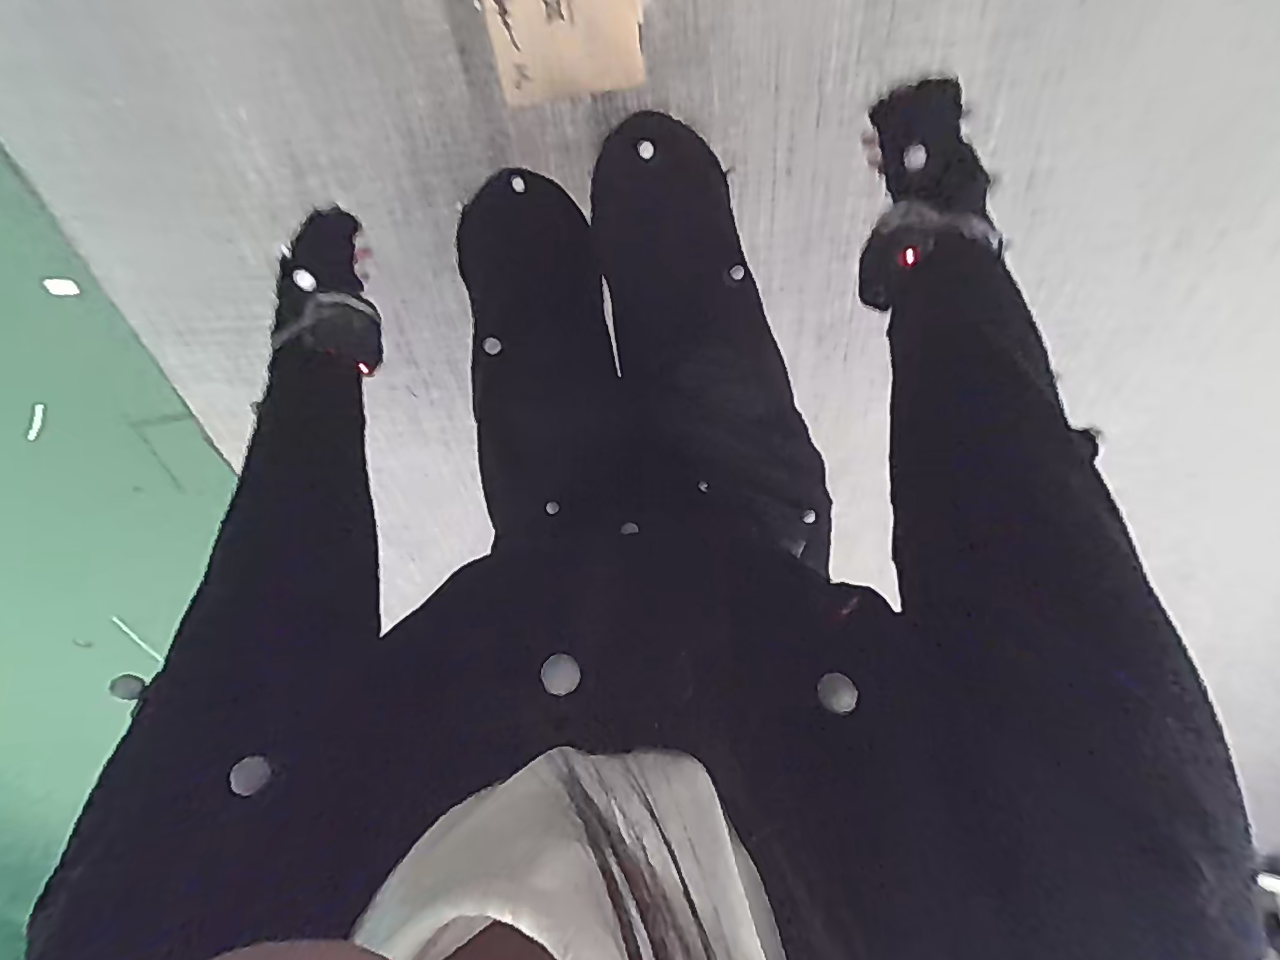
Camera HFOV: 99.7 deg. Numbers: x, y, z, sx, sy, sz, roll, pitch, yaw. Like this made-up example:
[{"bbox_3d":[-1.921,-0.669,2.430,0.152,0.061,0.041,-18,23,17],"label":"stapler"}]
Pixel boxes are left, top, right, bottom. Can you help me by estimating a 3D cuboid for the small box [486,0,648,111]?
[{"bbox_3d":[-0.088,-0.584,0.682,0.179,0.176,0.168,-6,129,4],"label":"small box"}]
